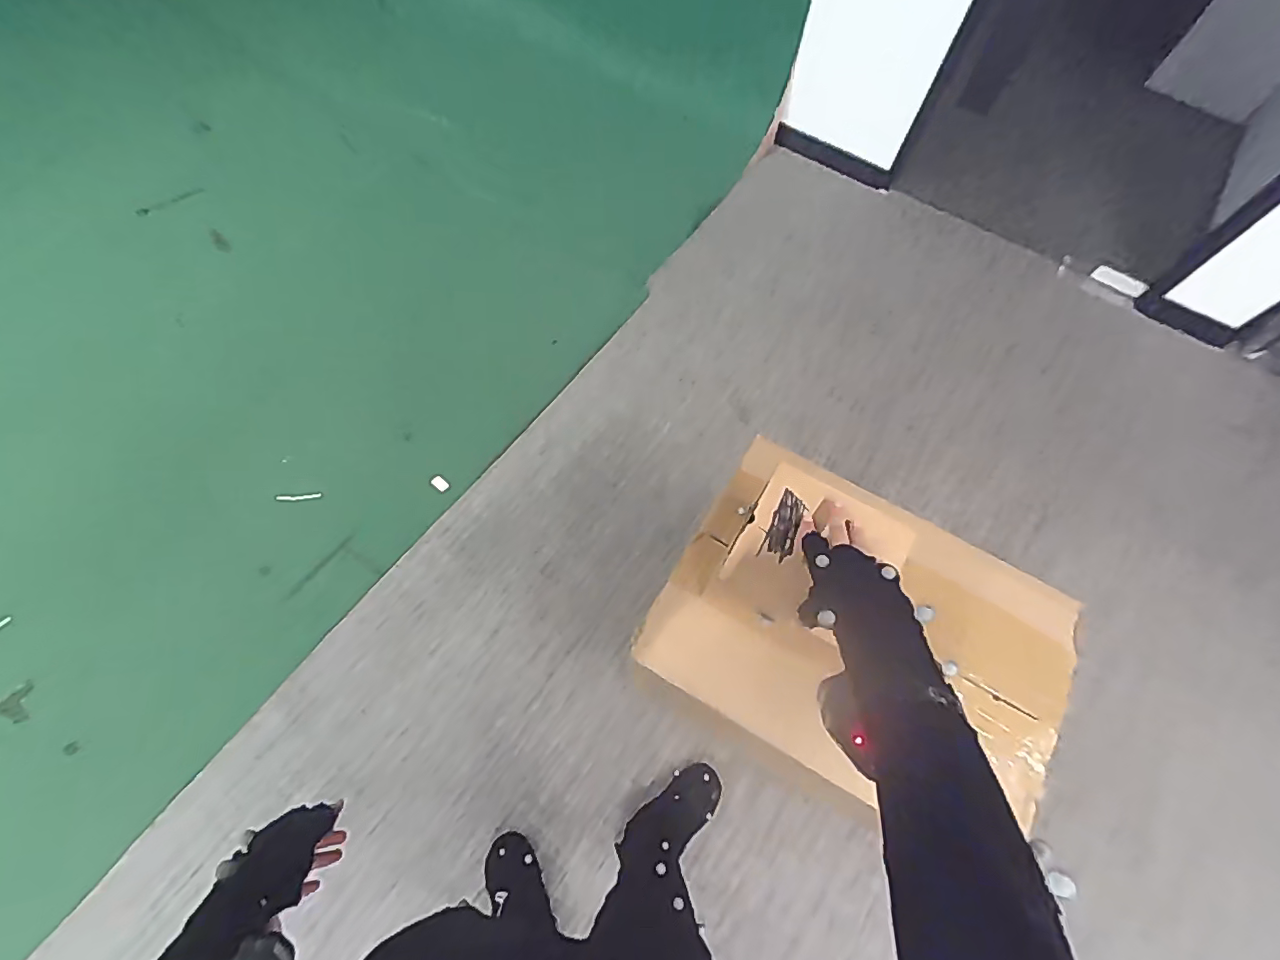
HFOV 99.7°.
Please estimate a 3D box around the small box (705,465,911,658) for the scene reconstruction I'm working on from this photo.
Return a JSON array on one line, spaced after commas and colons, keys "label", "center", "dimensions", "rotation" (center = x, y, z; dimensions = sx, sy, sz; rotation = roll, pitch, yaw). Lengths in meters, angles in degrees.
[{"label": "small box", "center": [0.197, 0.114, 0.688], "dimensions": [0.179, 0.176, 0.168], "rotation": [29, 73, 10]}]
